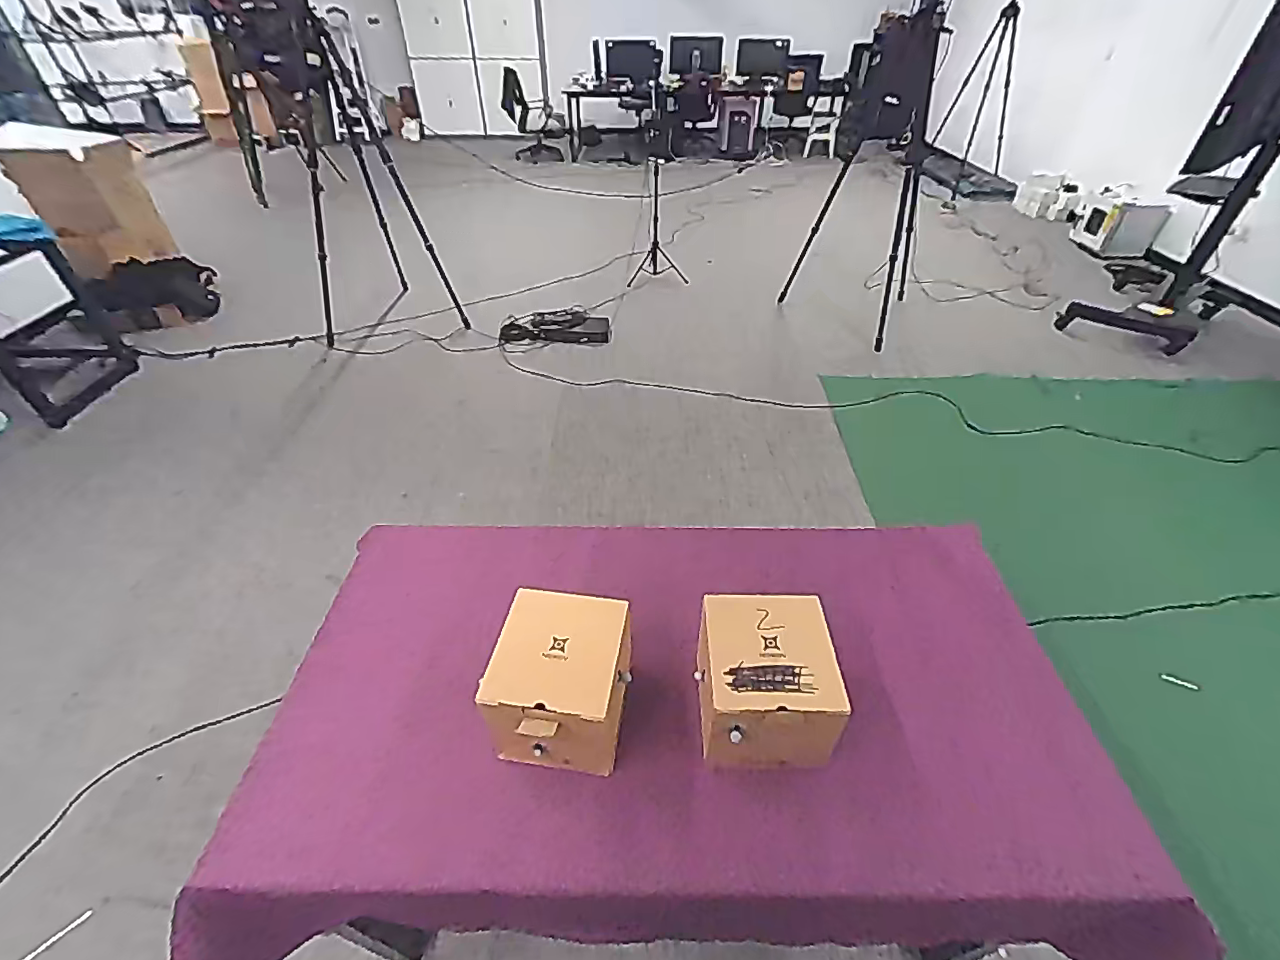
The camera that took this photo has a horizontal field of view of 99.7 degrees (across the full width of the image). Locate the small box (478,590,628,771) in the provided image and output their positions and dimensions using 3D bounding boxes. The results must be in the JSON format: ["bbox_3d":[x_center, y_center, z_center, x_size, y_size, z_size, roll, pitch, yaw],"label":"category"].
[{"bbox_3d":[-0.113,0.288,0.782,0.168,0.176,0.179,6,43,7],"label":"small box"}]
